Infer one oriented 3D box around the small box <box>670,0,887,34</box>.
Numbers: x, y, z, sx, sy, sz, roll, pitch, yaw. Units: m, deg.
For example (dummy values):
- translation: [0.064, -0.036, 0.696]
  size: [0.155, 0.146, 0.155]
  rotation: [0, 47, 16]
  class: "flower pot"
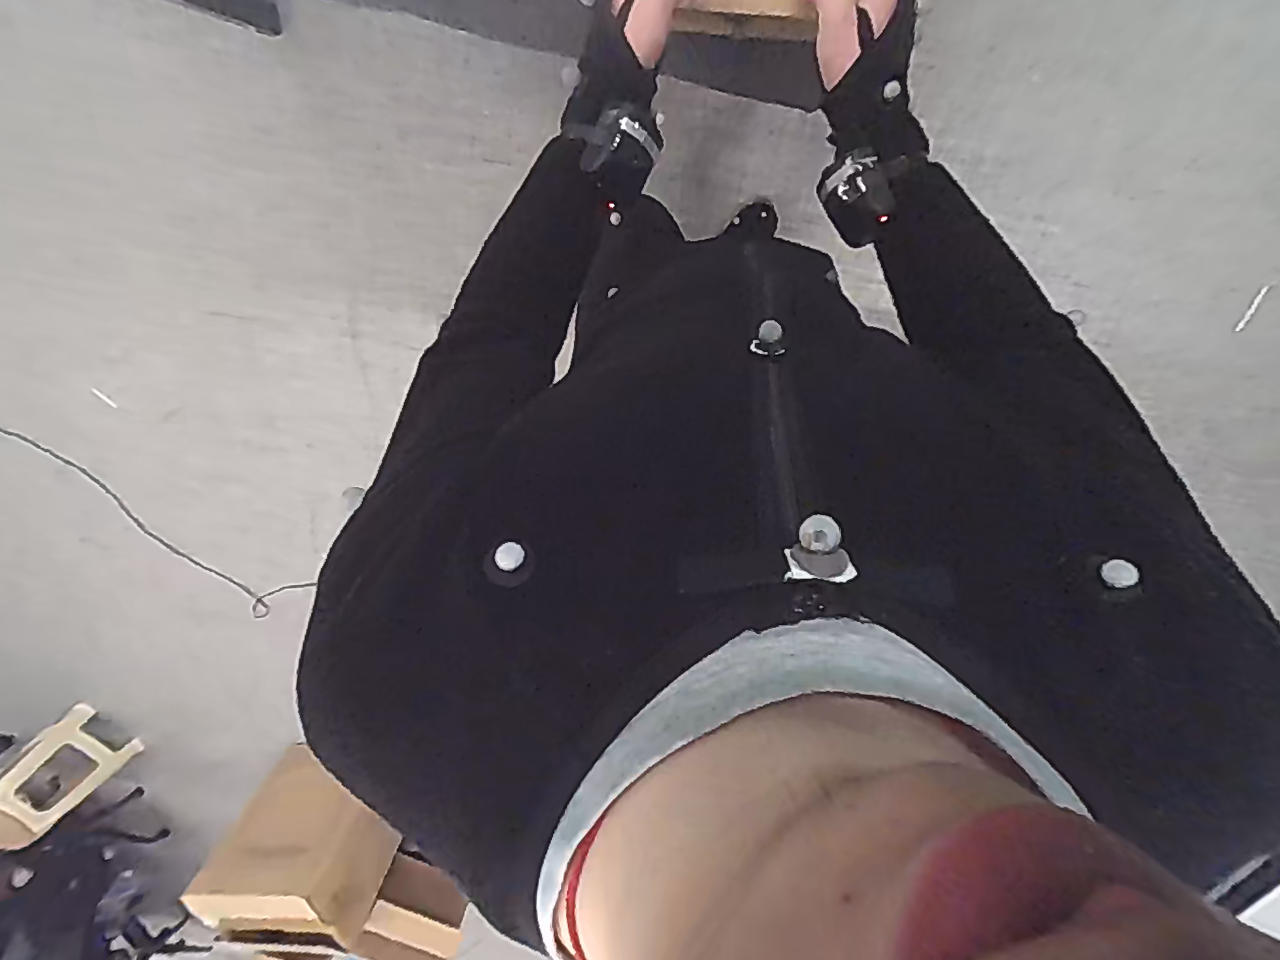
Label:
- translation: [0.117, -0.485, 0.443]
  size: [0.179, 0.176, 0.168]
  rotation: [5, 124, 0]
  class: "small box"
